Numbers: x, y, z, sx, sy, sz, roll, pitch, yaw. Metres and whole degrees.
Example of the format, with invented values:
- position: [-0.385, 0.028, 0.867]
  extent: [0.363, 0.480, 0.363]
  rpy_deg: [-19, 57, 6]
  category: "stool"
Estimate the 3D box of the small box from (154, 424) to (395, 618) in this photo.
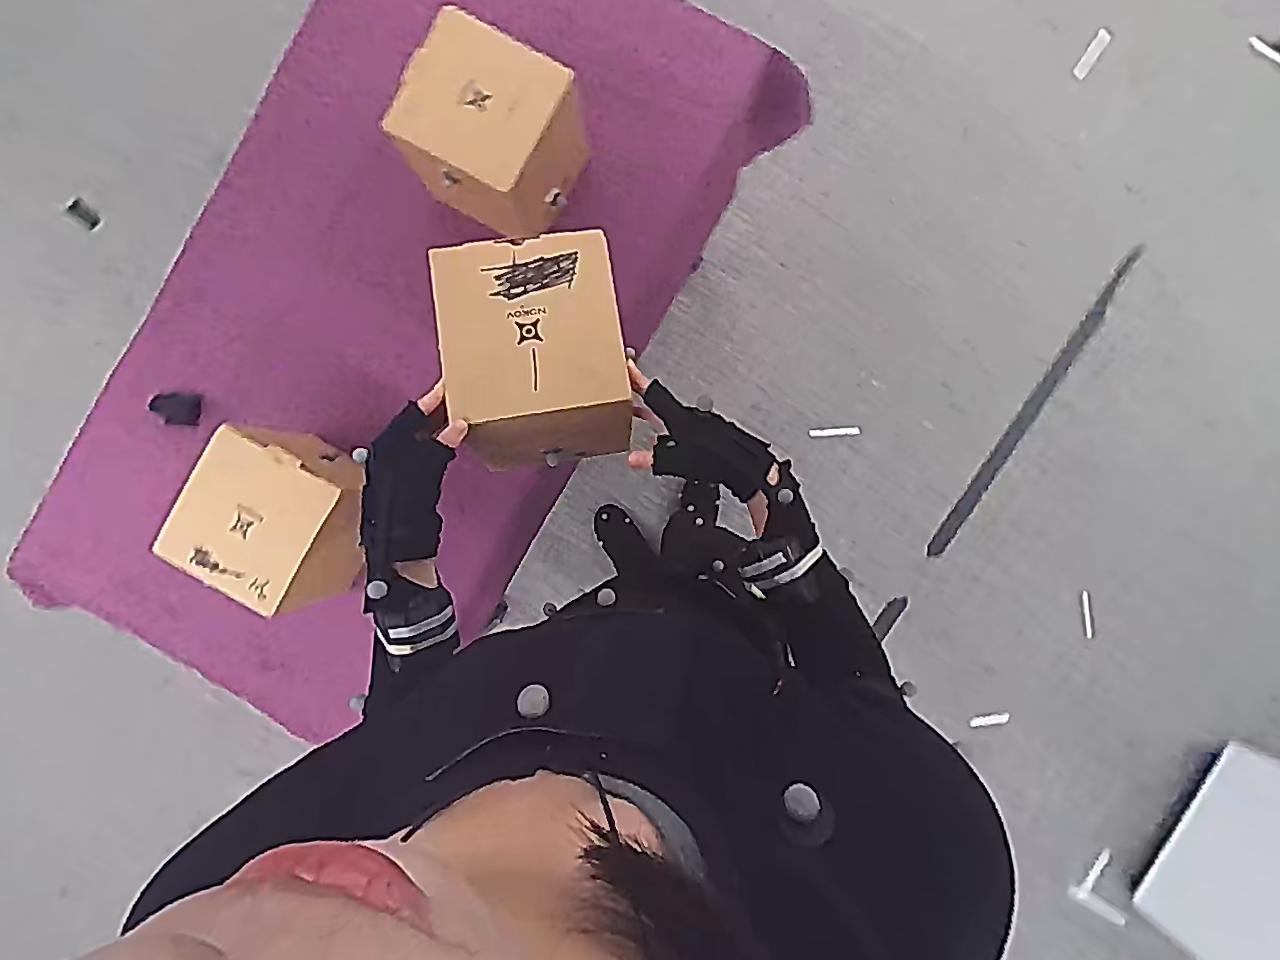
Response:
- position: [-0.454, 0.049, 0.709]
  extent: [0.168, 0.176, 0.179]
  rpy_deg: [29, 89, 1]
  category: "small box"

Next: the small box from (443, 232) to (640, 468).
- position: [-0.096, -0.126, 0.570]
  extent: [0.168, 0.176, 0.179]
  rpy_deg: [-9, 76, -4]
  category: "small box"

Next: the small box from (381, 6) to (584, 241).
- position: [-0.192, -0.448, 0.715]
  extent: [0.179, 0.176, 0.168]
  rpy_deg: [28, 91, 0]
  category: "small box"
